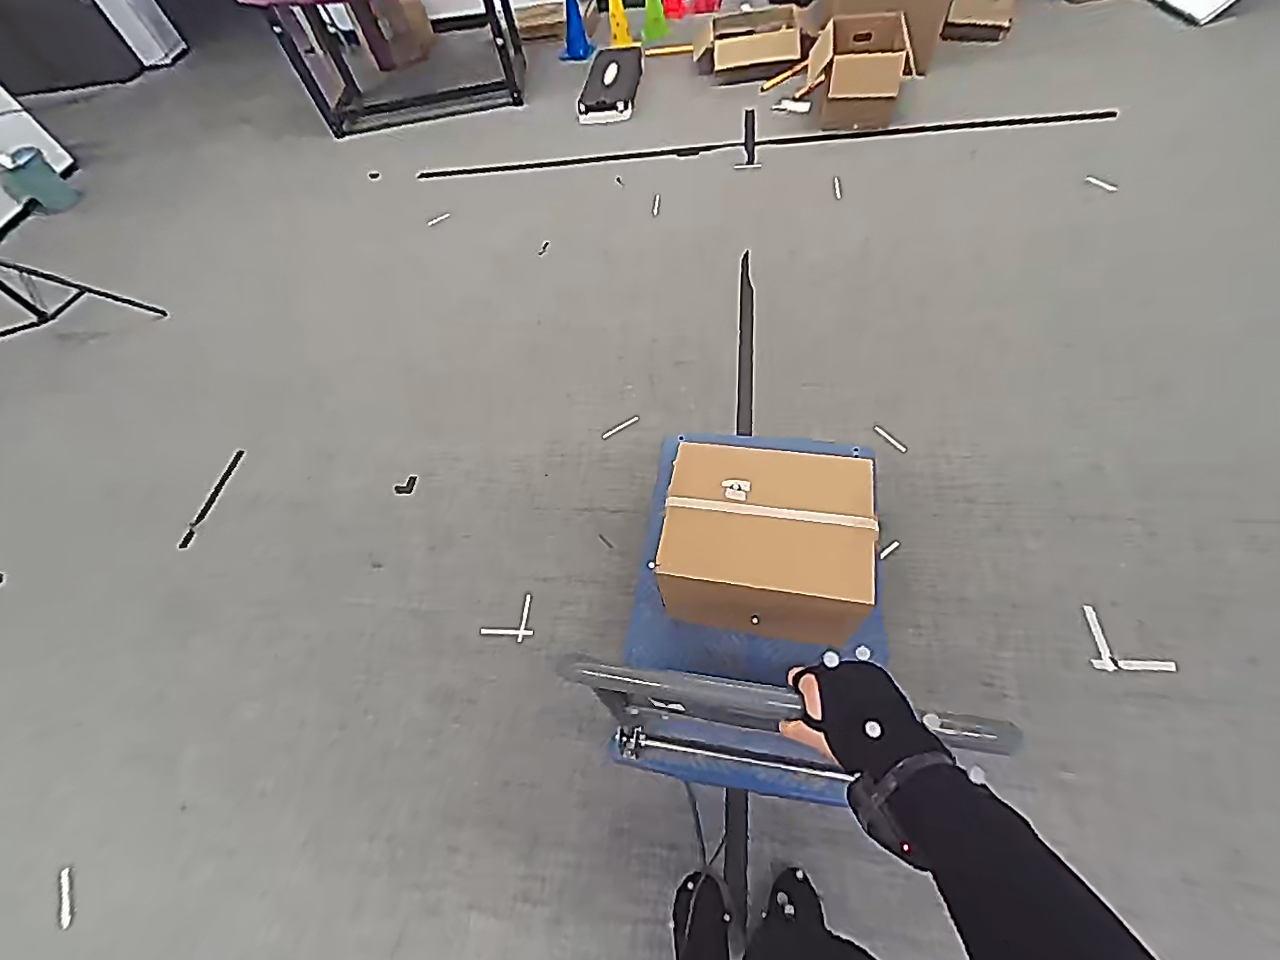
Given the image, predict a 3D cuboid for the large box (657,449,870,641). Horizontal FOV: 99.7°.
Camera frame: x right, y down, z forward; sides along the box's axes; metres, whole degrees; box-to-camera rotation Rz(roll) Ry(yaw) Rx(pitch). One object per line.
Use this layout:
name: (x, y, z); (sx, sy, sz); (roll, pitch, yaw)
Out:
large box: (0.276, 0.151, 1.220); (0.408, 0.320, 0.320); (5, 59, 13)
